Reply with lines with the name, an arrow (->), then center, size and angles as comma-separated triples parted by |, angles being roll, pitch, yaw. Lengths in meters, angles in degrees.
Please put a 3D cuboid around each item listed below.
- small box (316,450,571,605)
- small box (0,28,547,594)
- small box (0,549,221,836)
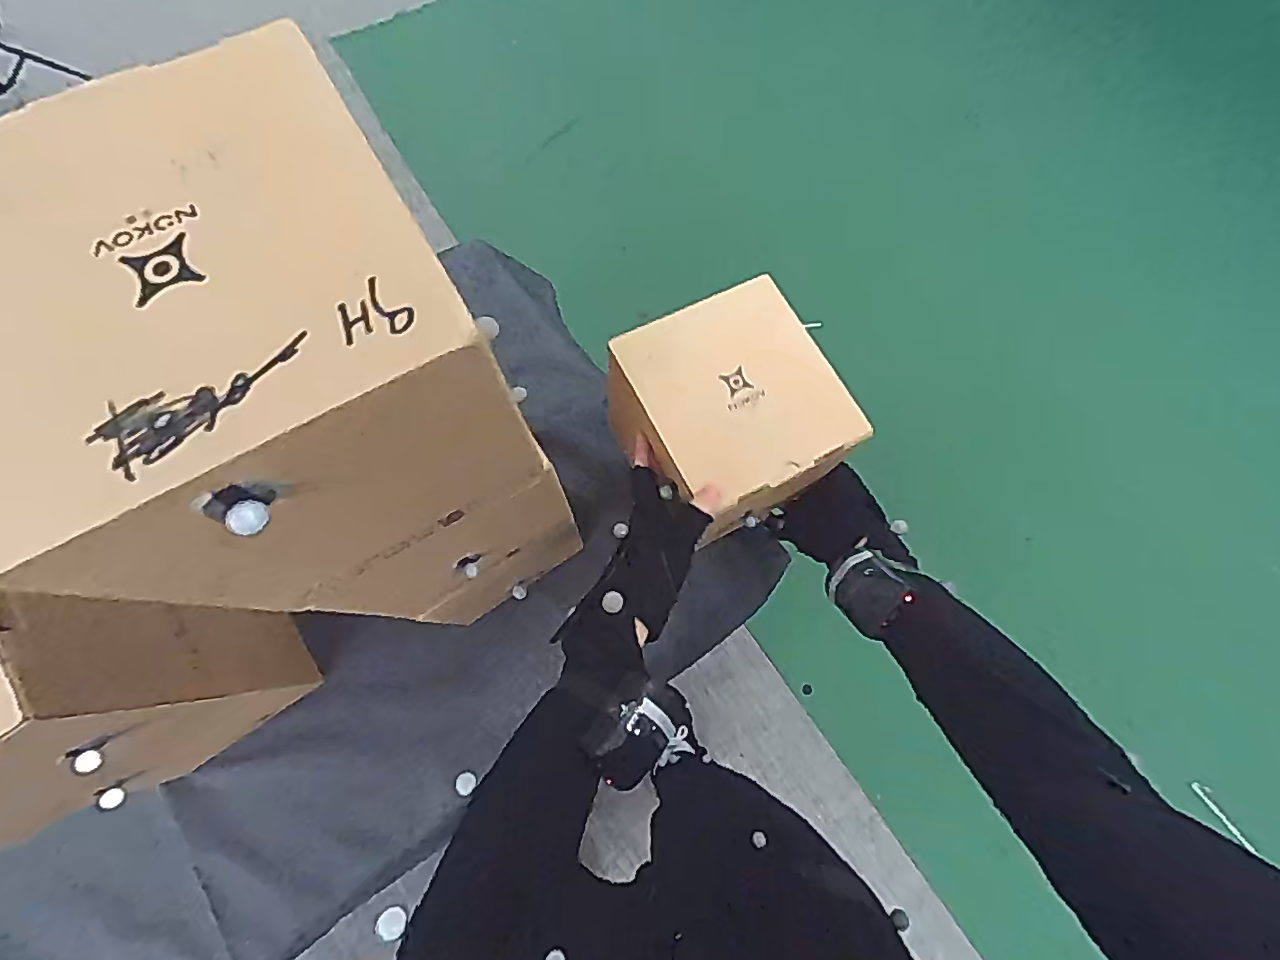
small box -> -0.169, -0.016, 0.431 | 0.168, 0.176, 0.179 | -31, 77, -10
small box -> -0.165, -0.060, 0.272 | 0.168, 0.176, 0.179 | -30, 76, -9
small box -> -0.447, 0.136, 0.379 | 0.179, 0.176, 0.168 | -36, 77, -11
